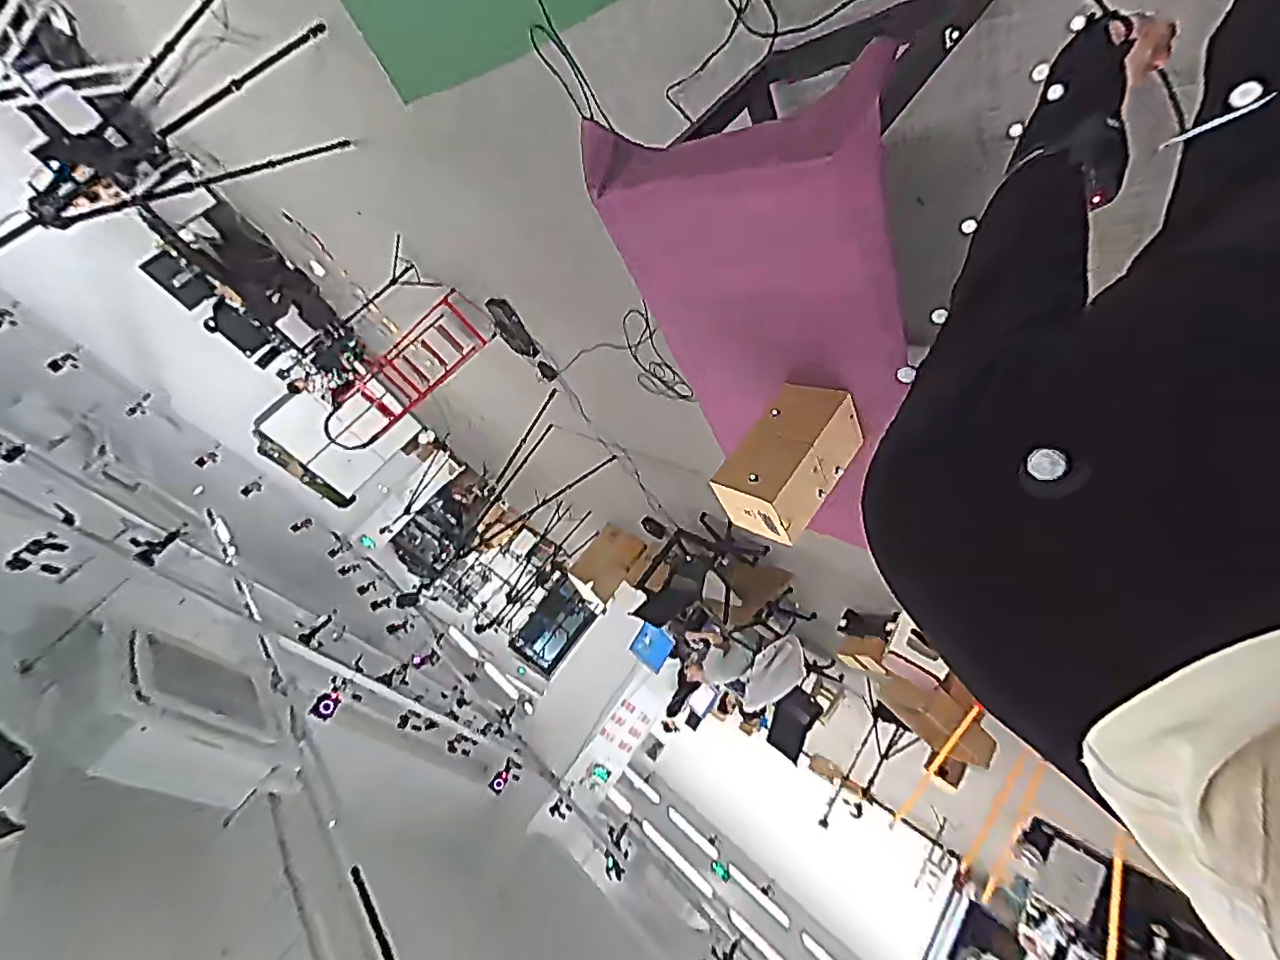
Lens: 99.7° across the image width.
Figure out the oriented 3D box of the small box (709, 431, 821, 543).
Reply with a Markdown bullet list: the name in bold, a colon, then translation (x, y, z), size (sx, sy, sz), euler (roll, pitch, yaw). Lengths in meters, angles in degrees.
- **small box**: translation (0.294, 0.010, 1.238), size (0.179, 0.176, 0.168), euler (22, 155, 45)
